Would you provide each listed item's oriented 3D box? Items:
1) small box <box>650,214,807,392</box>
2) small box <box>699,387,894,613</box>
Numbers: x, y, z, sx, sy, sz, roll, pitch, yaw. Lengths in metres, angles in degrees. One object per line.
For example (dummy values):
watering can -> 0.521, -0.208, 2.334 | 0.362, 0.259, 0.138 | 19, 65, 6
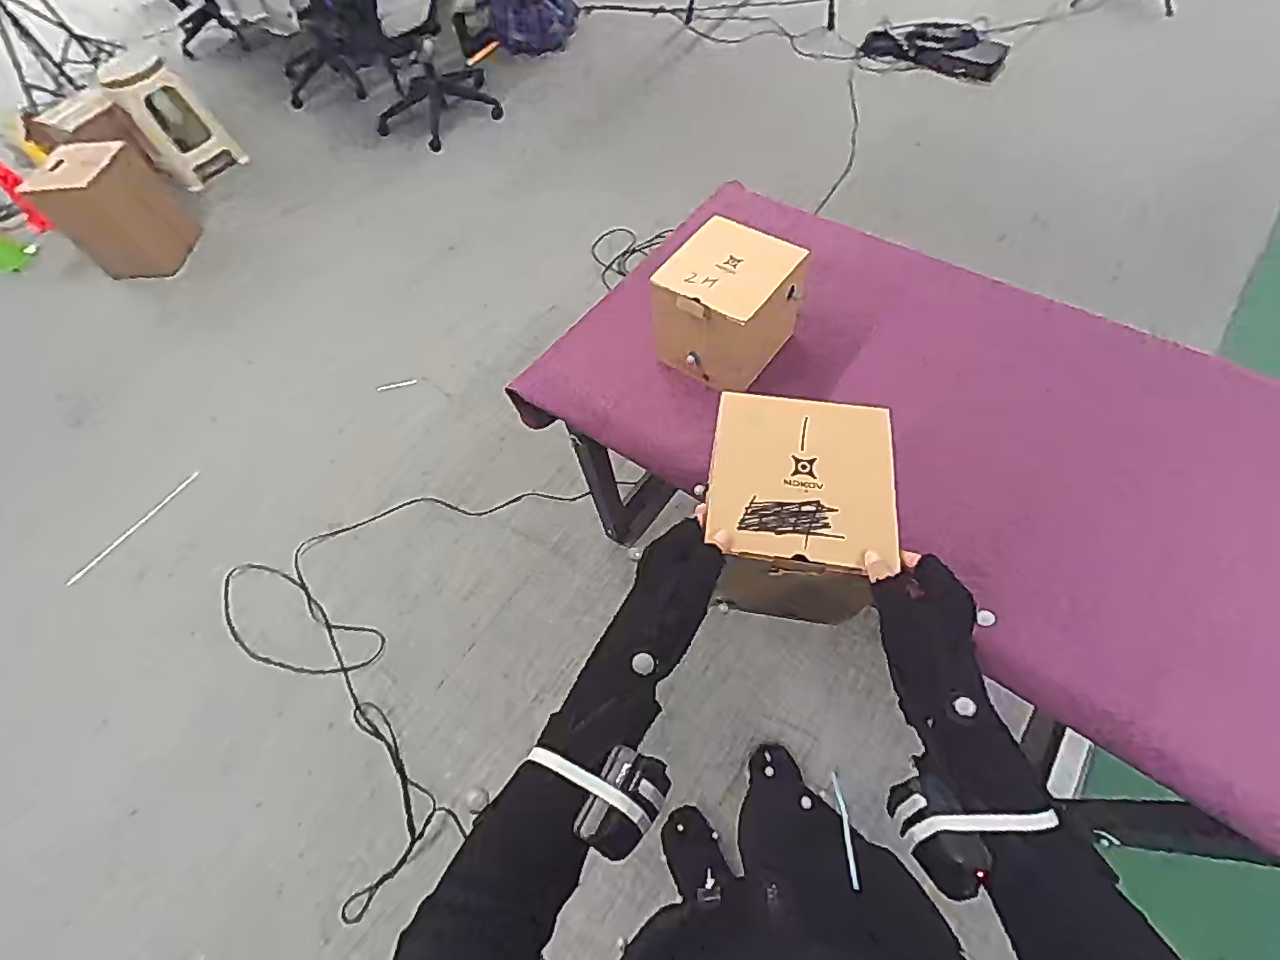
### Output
small box -> 0.134, -0.272, 0.851 | 0.168, 0.176, 0.179 | 32, 69, 22
small box -> 0.154, 0.028, 0.572 | 0.168, 0.176, 0.179 | 7, 62, 7
